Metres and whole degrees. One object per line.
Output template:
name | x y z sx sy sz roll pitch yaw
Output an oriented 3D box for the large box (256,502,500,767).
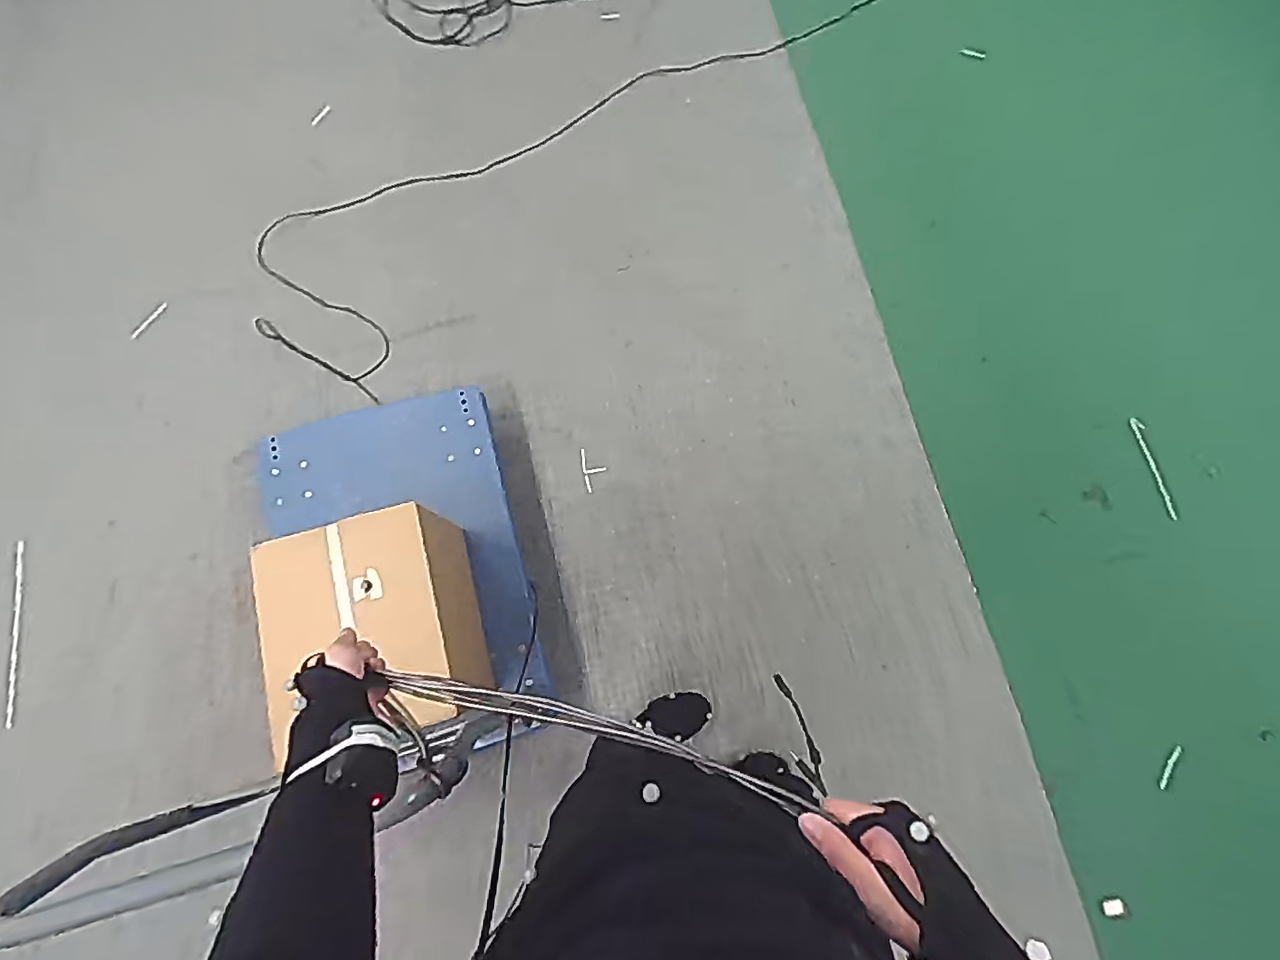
large box | -0.515 0.305 1.118 0.320 0.320 0.408 -16 75 -6
